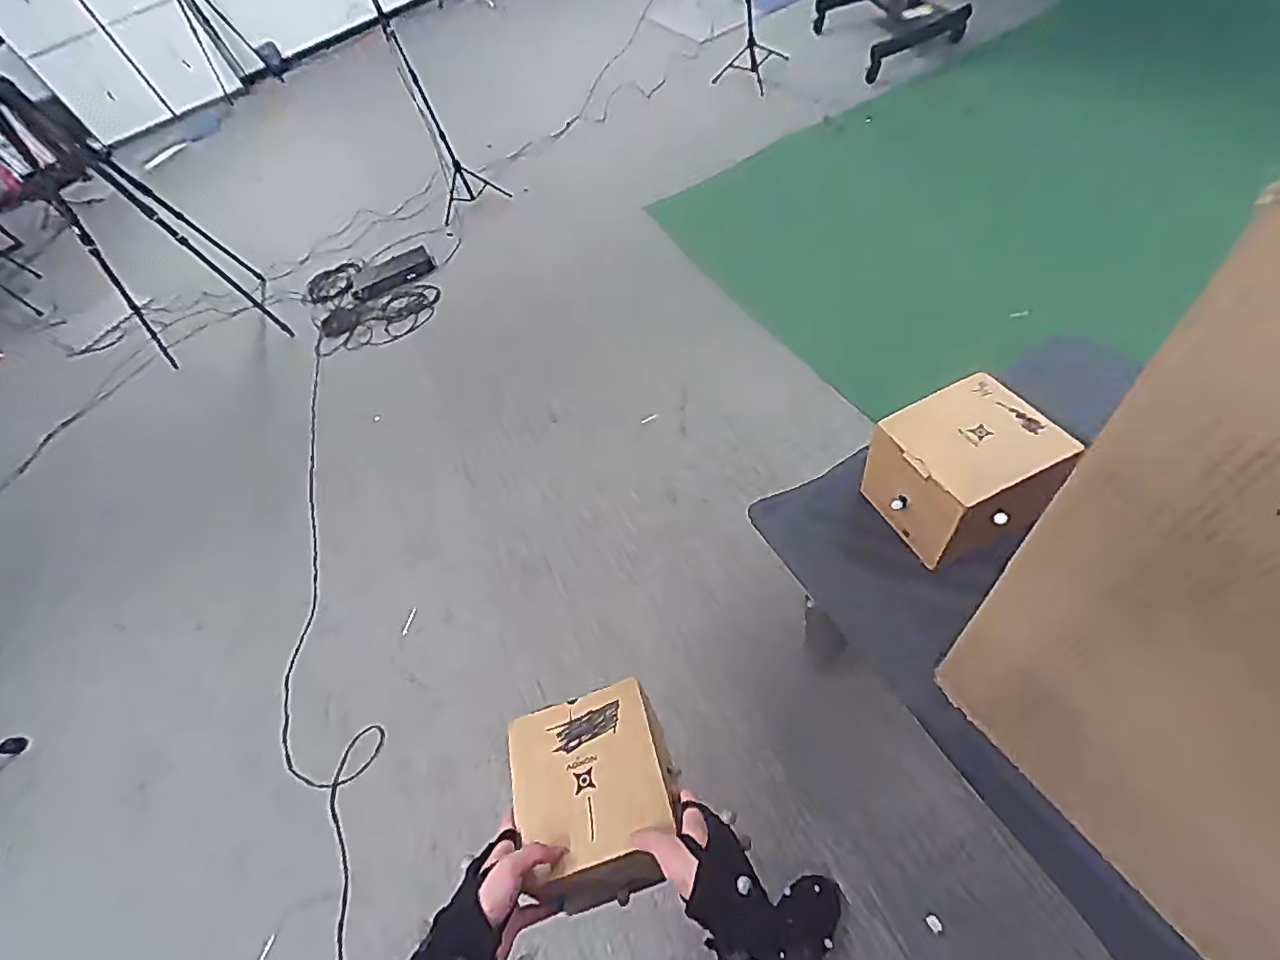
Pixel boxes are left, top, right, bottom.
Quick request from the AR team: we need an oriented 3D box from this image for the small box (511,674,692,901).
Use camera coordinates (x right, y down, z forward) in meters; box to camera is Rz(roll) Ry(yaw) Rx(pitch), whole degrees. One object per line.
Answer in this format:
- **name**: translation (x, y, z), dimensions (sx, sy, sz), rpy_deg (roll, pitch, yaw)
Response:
- **small box**: translation (-0.046, 0.374, 0.658), dimensions (0.168, 0.176, 0.179), rpy_deg (-19, 44, -1)
